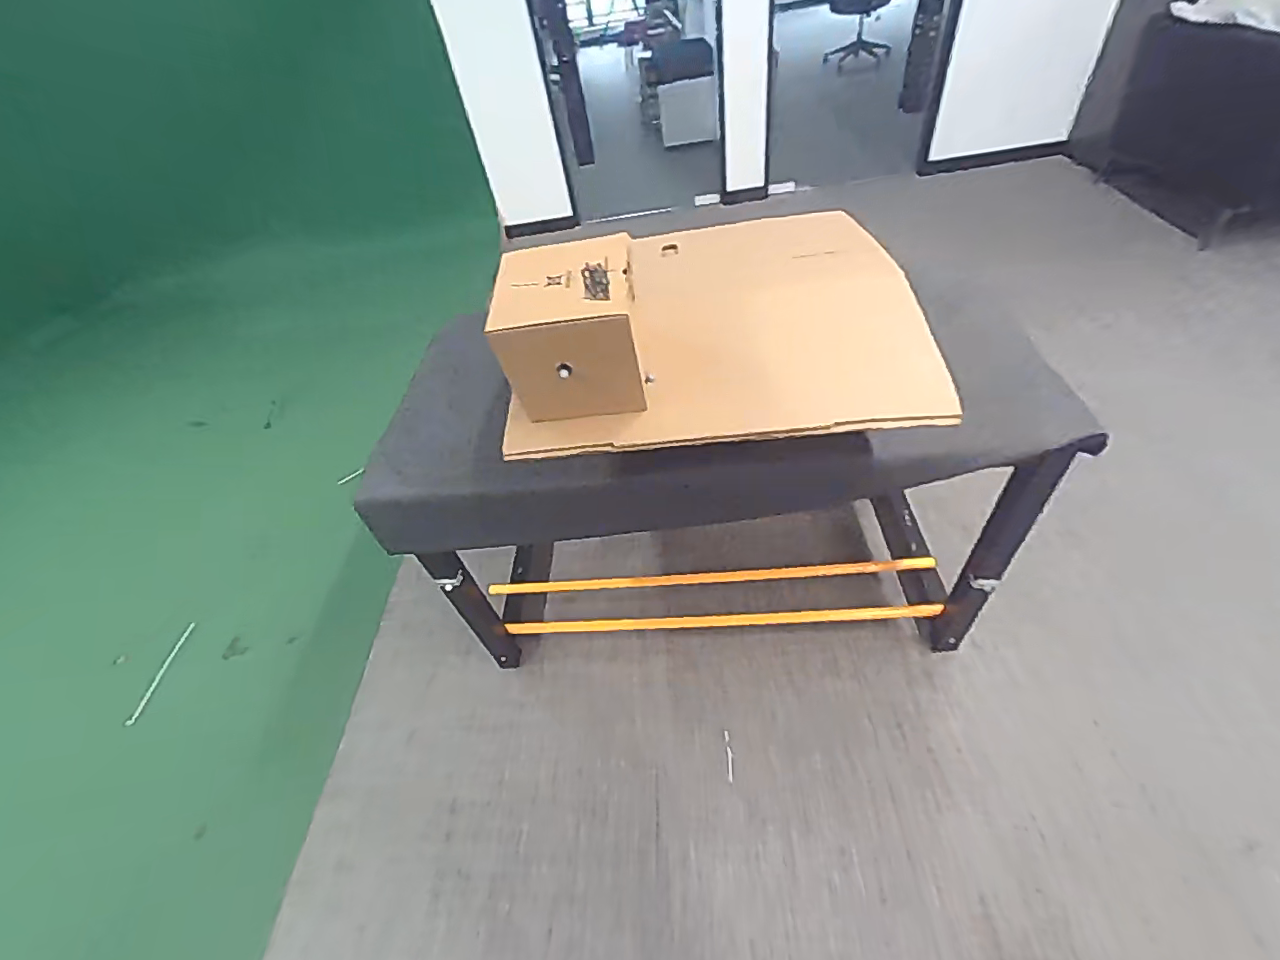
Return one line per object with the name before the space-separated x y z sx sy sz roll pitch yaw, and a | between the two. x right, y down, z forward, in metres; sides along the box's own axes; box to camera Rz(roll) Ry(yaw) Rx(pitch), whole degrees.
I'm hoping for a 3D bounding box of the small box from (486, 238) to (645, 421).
small box | -0.088 -0.201 0.748 0.179 0.176 0.168 -6 54 8
